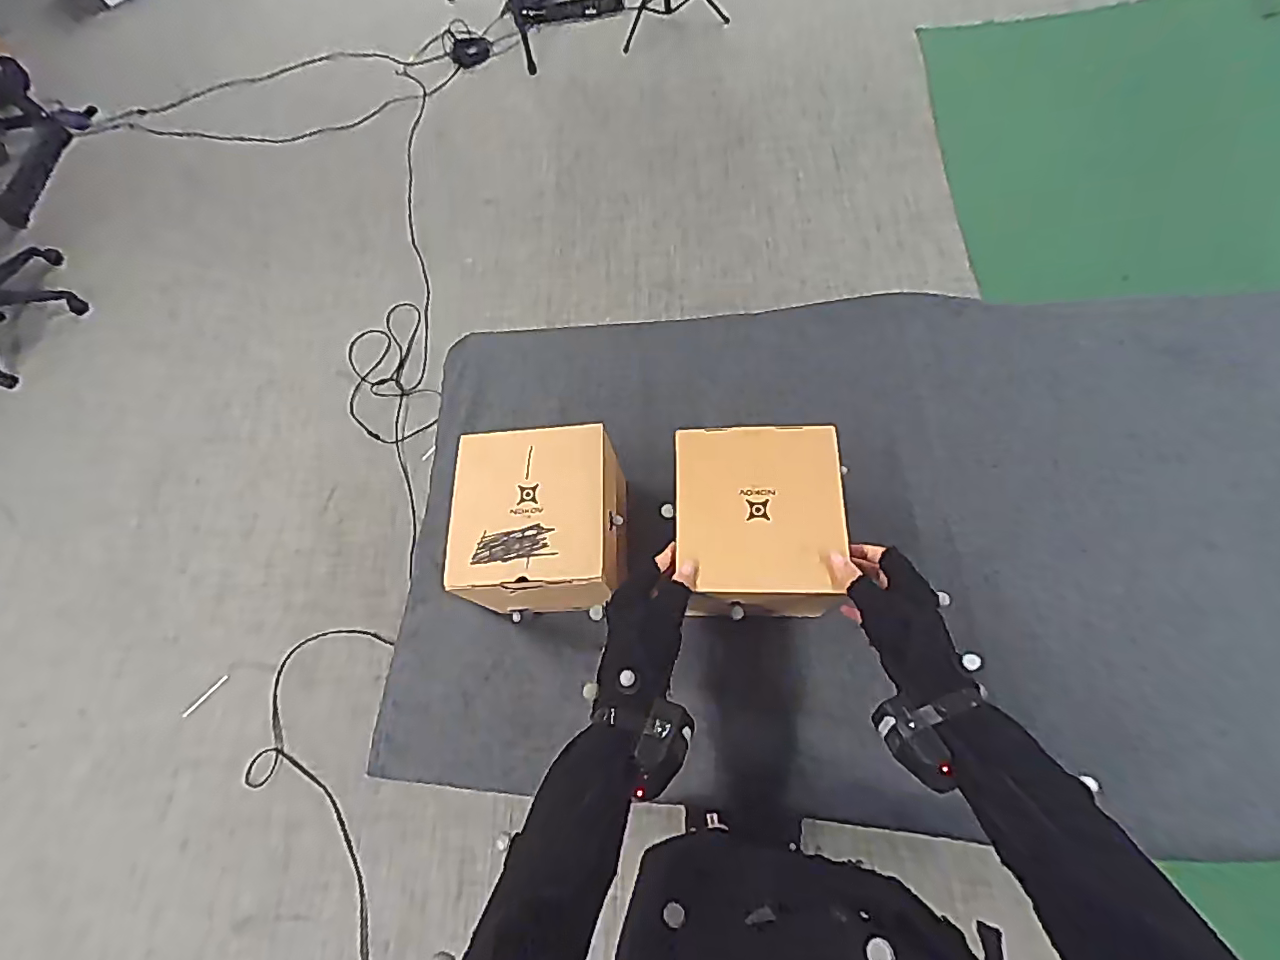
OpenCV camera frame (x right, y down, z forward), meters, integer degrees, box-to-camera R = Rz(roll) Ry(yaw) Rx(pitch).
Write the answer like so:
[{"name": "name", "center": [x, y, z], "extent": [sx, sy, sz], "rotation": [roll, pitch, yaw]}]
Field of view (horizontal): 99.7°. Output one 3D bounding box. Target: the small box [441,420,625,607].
[{"name": "small box", "center": [-0.110, 0.050, 0.634], "extent": [0.168, 0.176, 0.179], "rotation": [-4, 67, 6]}]

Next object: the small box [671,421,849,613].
[{"name": "small box", "center": [0.125, 0.051, 0.604], "extent": [0.168, 0.176, 0.179], "rotation": [-2, 68, 8]}]
